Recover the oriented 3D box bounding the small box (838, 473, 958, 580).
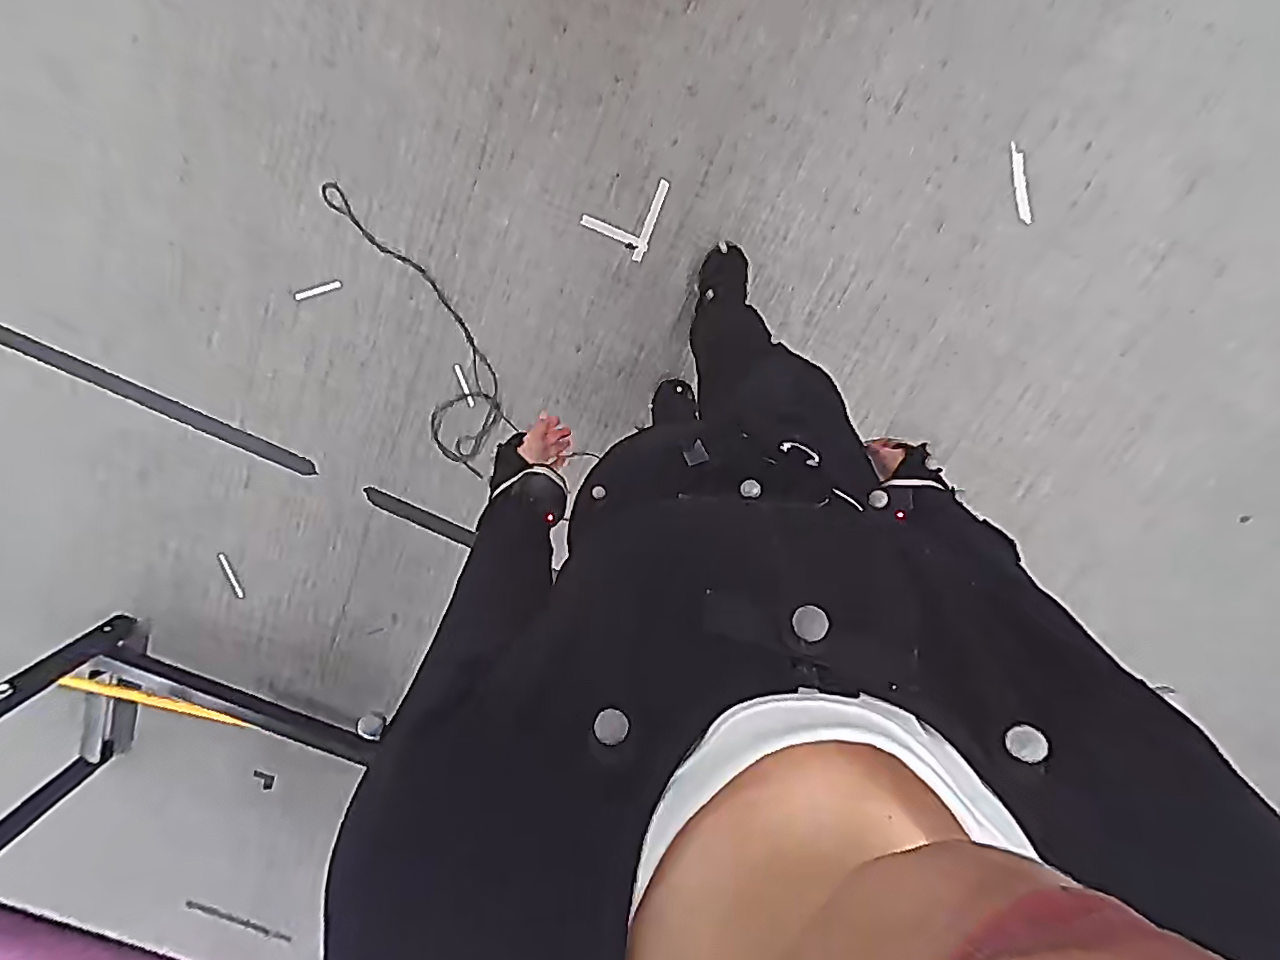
[{"bbox_3d":[0.613,0.105,1.314,0.168,0.176,0.179,28,105,-7],"label":"small box"}]
